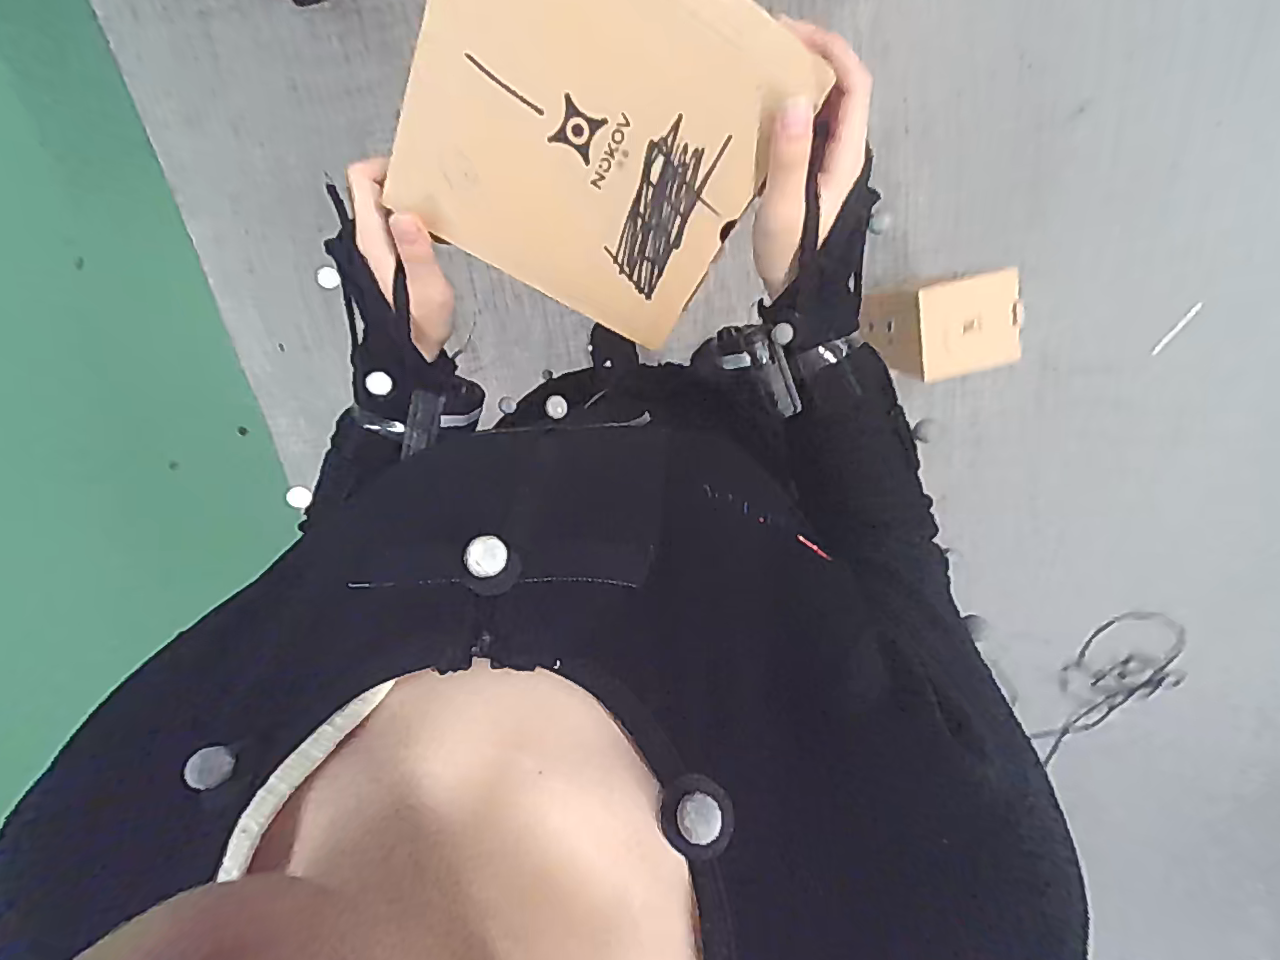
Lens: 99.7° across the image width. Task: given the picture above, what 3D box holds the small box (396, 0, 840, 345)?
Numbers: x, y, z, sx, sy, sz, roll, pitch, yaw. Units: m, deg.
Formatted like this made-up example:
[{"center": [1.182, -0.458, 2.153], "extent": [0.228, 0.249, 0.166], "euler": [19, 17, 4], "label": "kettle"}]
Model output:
[{"center": [-0.015, -0.223, 0.335], "extent": [0.179, 0.176, 0.168], "euler": [26, 126, -18], "label": "small box"}]

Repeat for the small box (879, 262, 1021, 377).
[{"center": [0.584, -0.308, 1.032], "extent": [0.179, 0.176, 0.168], "euler": [-14, 108, 6], "label": "small box"}]

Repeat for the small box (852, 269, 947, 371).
[{"center": [0.582, -0.351, 1.190], "extent": [0.168, 0.176, 0.179], "euler": [-14, 108, 5], "label": "small box"}]
